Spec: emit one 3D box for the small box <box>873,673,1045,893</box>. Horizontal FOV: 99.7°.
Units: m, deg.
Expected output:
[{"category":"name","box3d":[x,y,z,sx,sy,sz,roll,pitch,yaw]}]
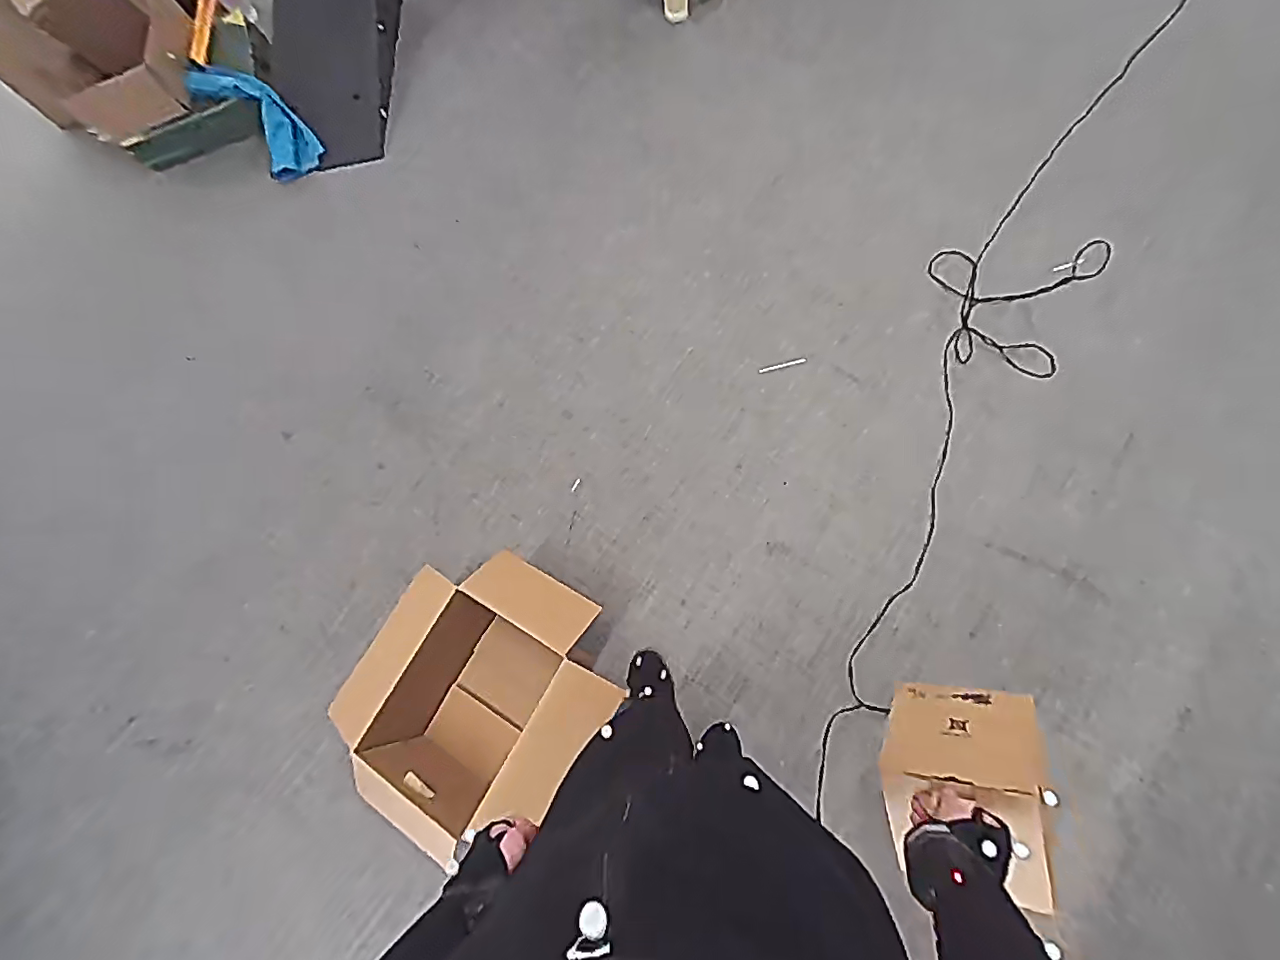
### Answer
[{"category":"small box","box3d":[0.425,0.388,0.716,0.168,0.179,0.176,-6,108,36]}]
